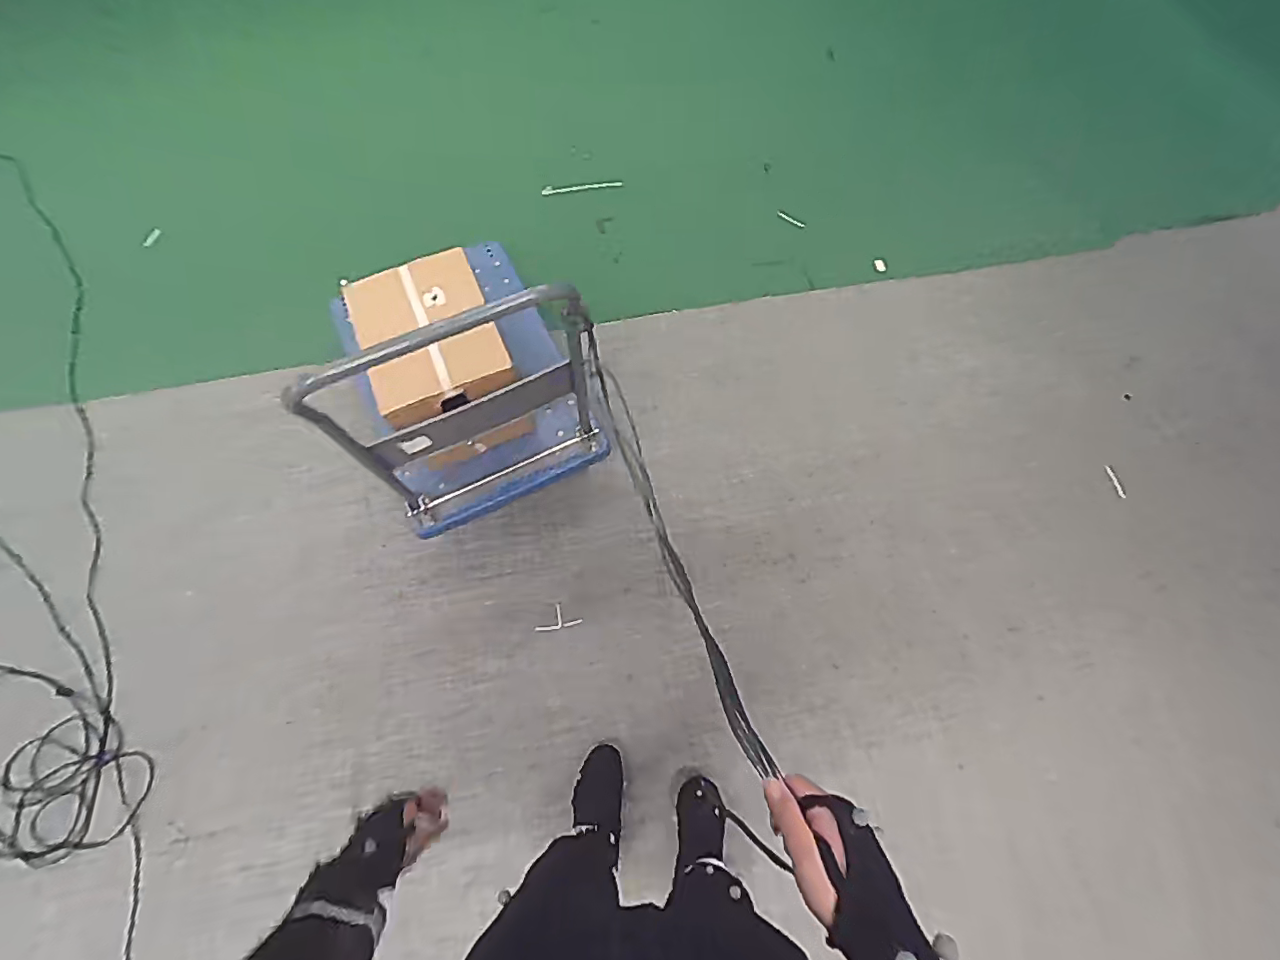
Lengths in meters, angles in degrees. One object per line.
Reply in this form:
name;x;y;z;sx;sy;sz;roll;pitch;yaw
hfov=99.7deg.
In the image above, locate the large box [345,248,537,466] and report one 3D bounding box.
large box;-0.505;-0.311;1.422;0.320;0.320;0.408;-22;69;-9
